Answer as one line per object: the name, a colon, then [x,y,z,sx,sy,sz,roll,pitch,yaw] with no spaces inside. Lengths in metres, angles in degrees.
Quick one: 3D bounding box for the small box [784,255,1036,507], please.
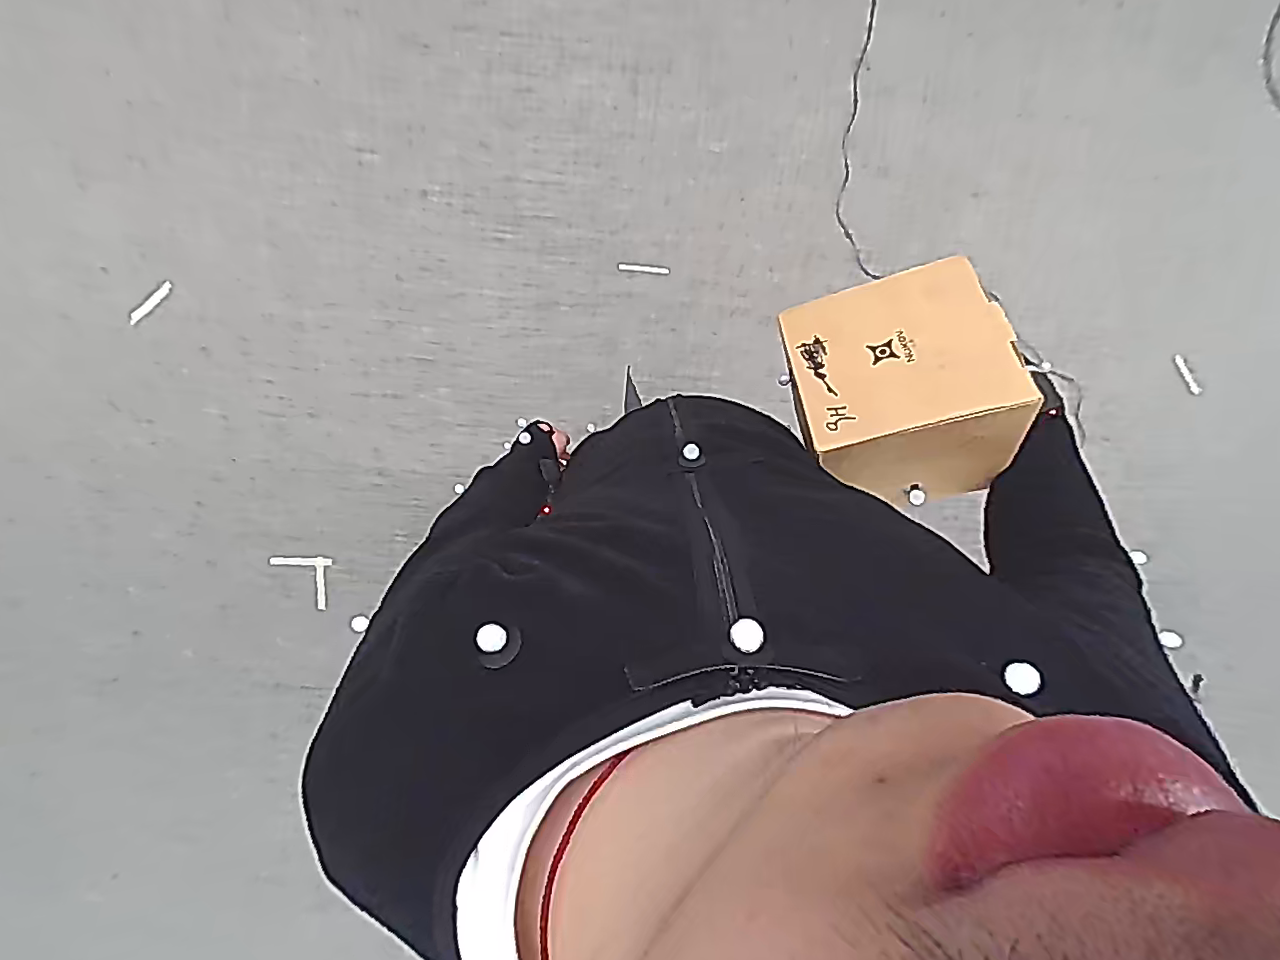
small box: [0.260,-0.089,0.562,0.179,0.176,0.168,-14,60,15]
